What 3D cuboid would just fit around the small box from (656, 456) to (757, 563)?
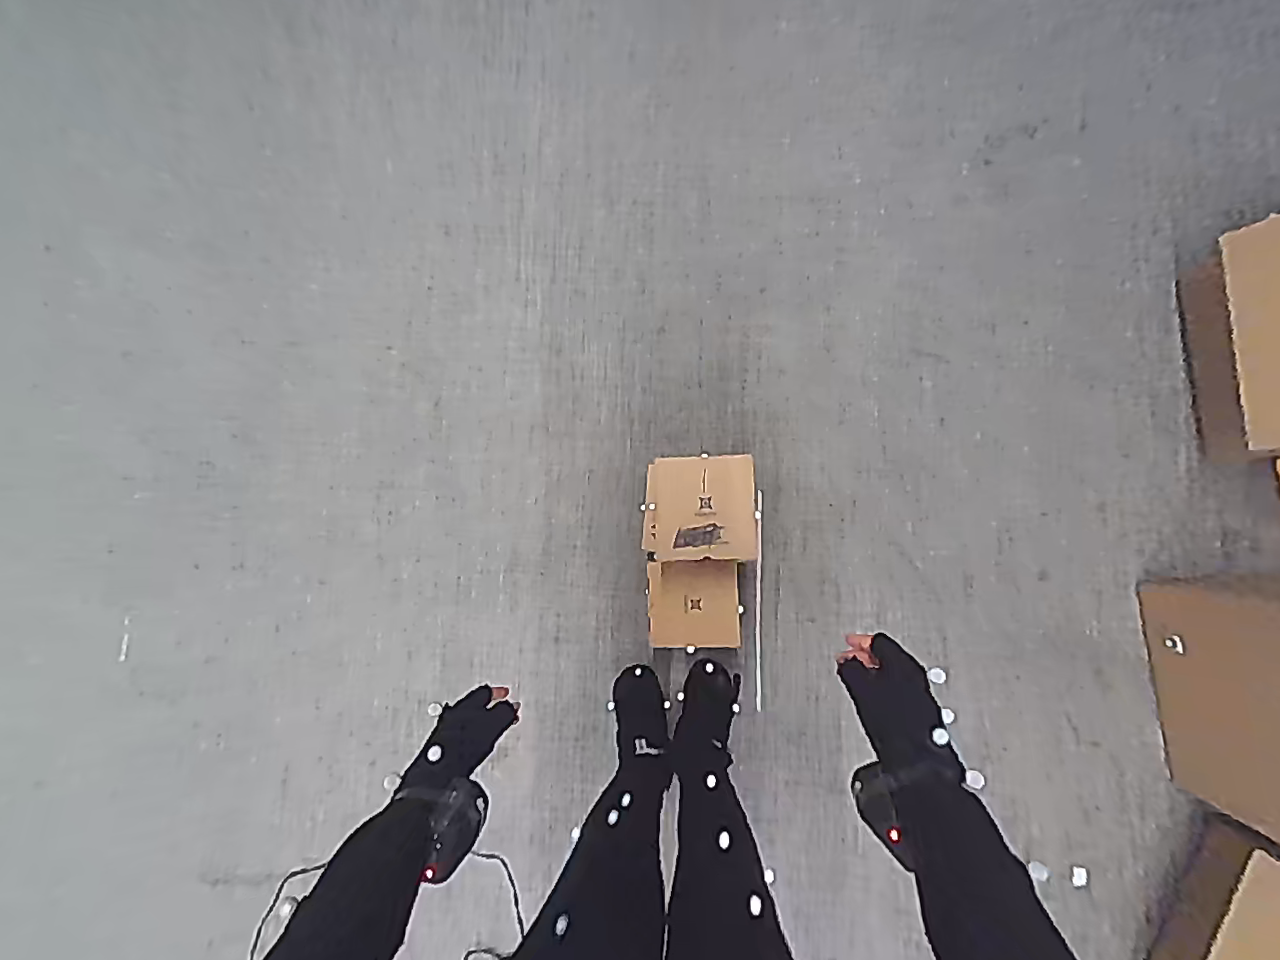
[{"bbox_3d":[0.116,0.055,0.963,0.168,0.176,0.179,-1,84,5],"label":"small box"}]
